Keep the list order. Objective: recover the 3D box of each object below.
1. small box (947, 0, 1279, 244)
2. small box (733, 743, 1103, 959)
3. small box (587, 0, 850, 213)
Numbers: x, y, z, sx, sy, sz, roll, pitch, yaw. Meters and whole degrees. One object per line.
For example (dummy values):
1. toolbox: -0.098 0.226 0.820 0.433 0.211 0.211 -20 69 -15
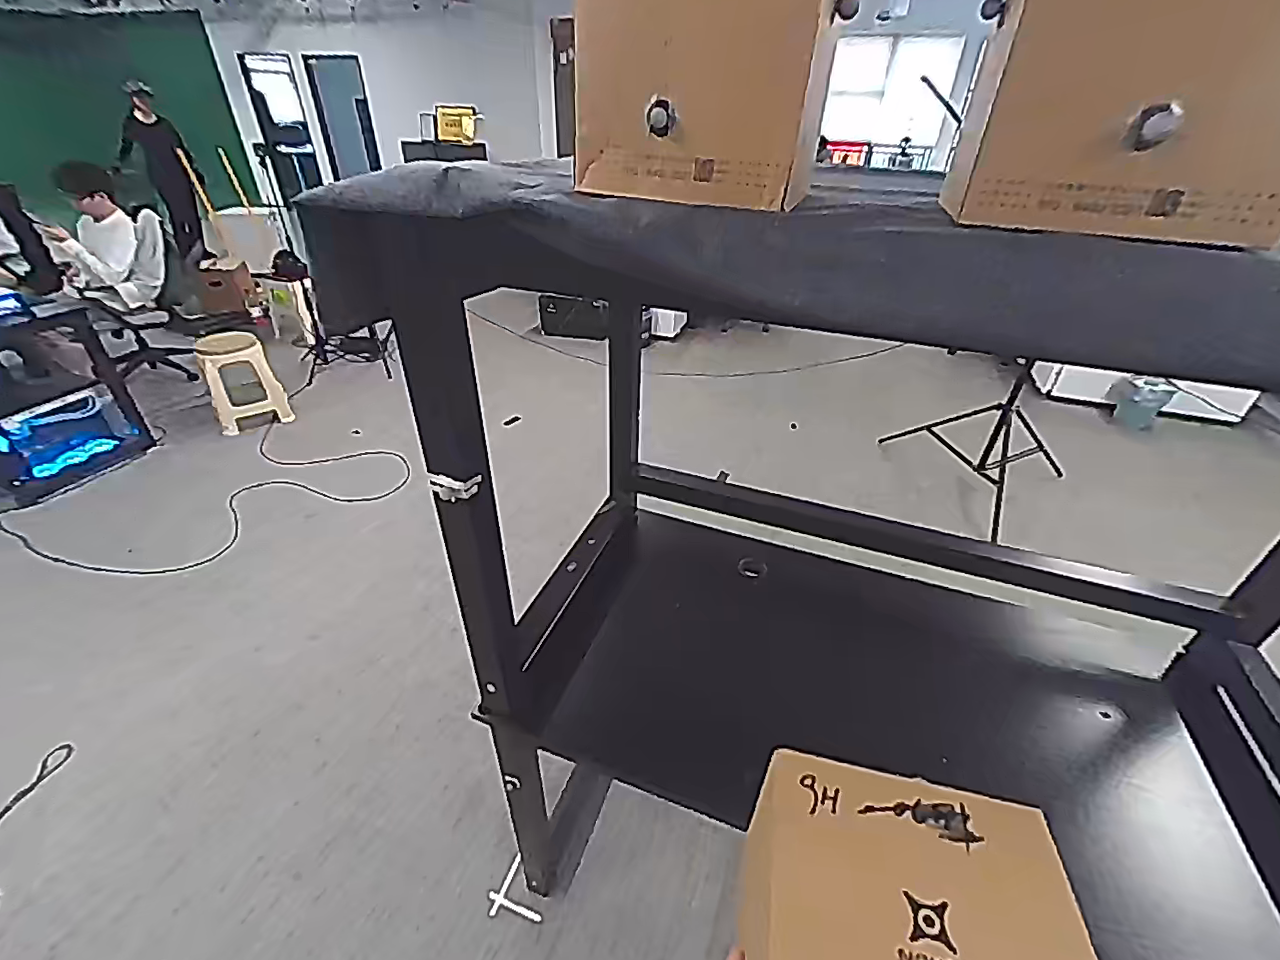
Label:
1. small box: 0.317 -0.260 0.348 0.168 0.176 0.179 13 34 17
2. small box: 0.147 0.300 0.322 0.168 0.176 0.179 10 36 10
3. small box: 0.062 -0.319 0.426 0.168 0.176 0.179 14 35 15
